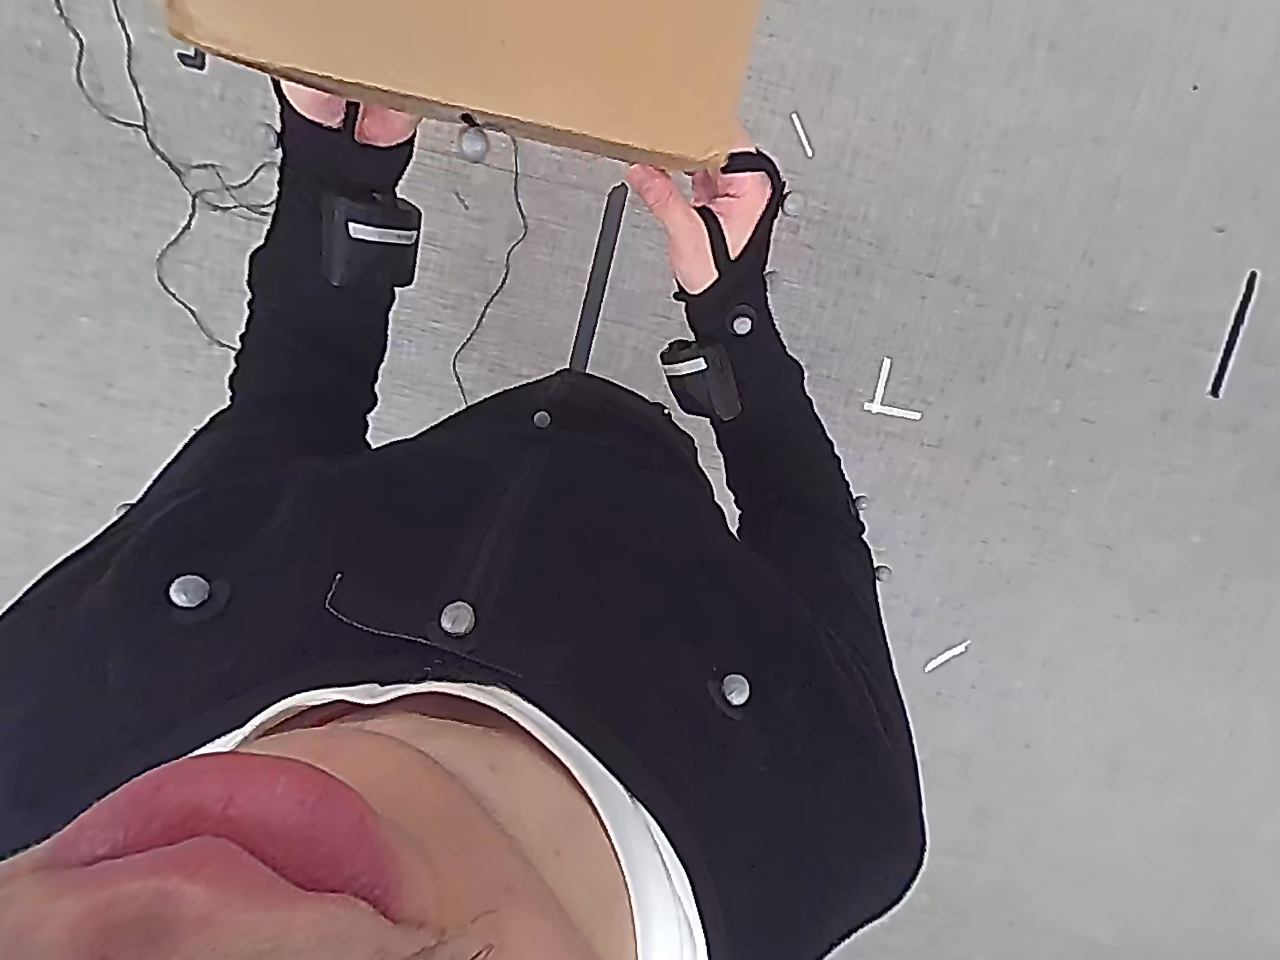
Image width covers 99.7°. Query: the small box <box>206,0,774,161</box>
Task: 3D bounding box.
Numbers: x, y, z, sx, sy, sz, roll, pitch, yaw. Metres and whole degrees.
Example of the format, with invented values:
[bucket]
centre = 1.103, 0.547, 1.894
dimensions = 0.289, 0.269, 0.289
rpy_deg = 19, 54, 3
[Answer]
[small box]
centre = -0.041, -0.235, 0.215
dimensions = 0.179, 0.176, 0.168
rpy_deg = 6, 119, -9
